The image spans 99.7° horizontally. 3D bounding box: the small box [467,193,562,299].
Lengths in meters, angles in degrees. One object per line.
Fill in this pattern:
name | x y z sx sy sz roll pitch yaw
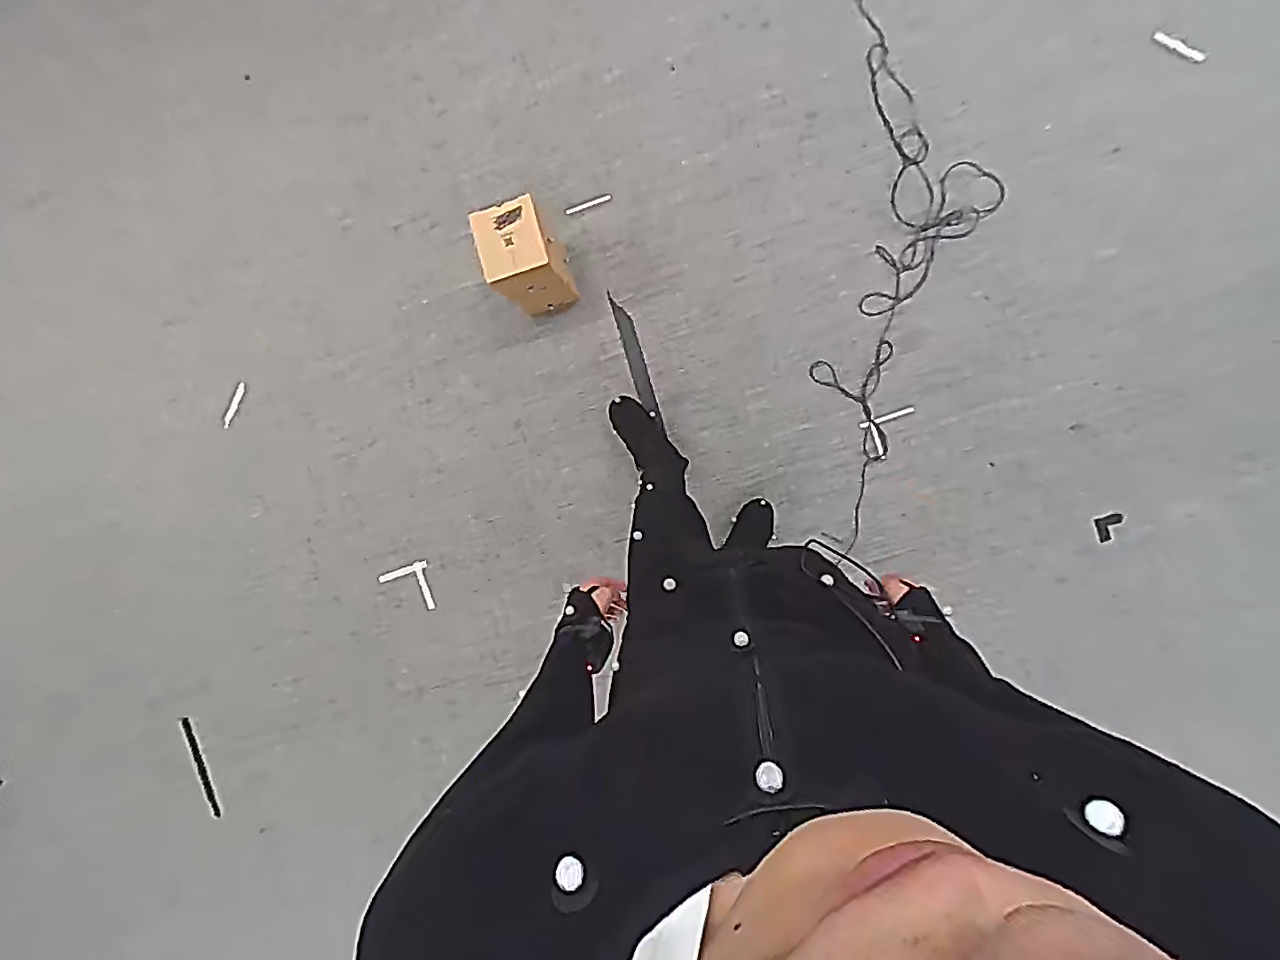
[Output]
small box | -0.316 -0.591 1.389 0.168 0.176 0.179 -16 92 8
